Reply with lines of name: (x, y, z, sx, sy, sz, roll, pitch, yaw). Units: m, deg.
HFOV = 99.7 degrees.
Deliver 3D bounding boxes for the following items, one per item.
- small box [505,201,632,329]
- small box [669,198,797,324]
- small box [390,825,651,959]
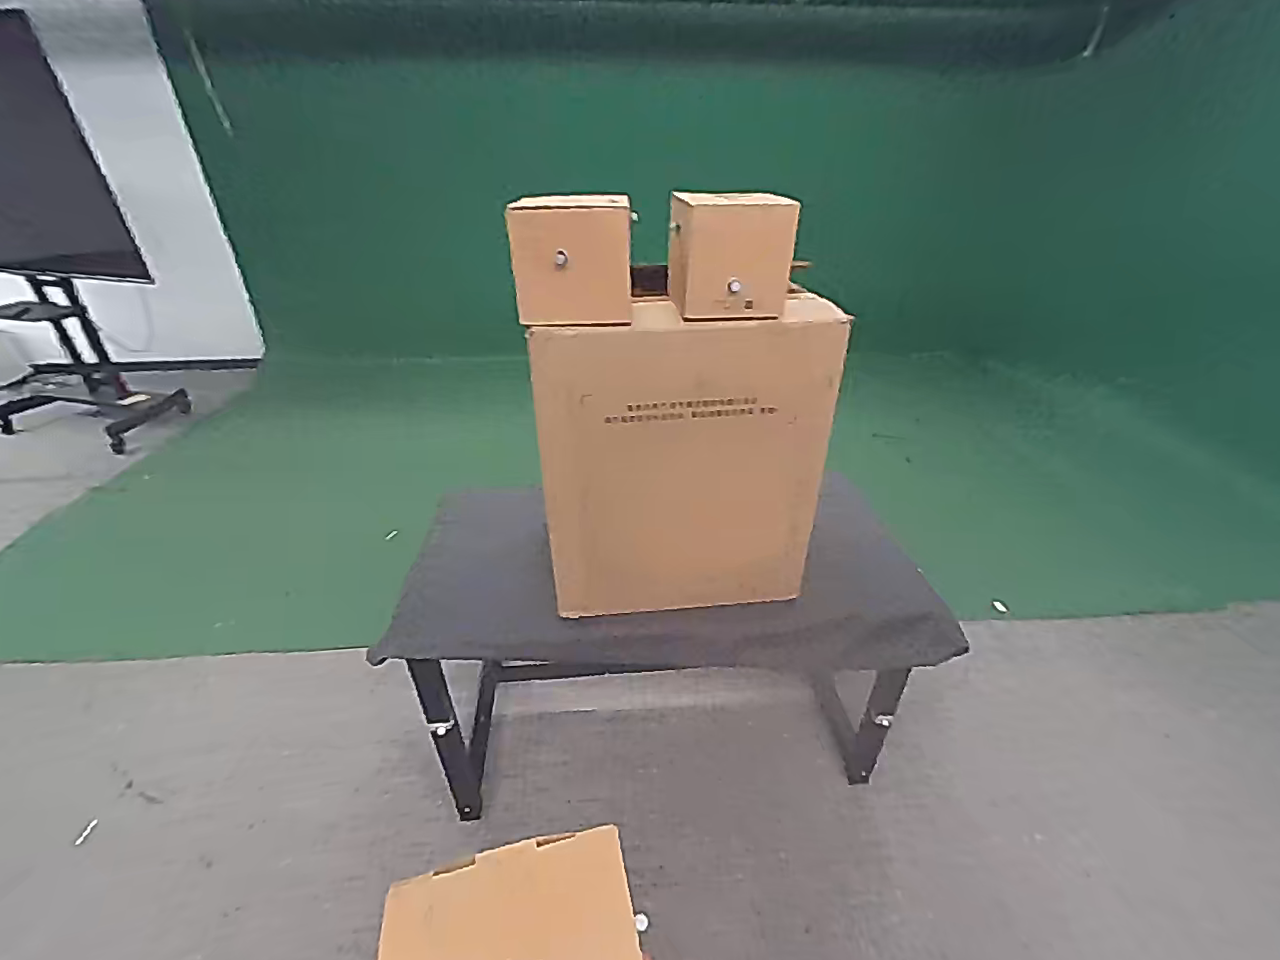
small box: (-0.105, -0.348, 0.874, 0.179, 0.176, 0.168, -2, 33, -1)
small box: (0.142, -0.368, 0.903, 0.168, 0.176, 0.179, -3, 33, -6)
small box: (-0.073, 0.386, 0.373, 0.168, 0.176, 0.179, -8, 35, -12)
